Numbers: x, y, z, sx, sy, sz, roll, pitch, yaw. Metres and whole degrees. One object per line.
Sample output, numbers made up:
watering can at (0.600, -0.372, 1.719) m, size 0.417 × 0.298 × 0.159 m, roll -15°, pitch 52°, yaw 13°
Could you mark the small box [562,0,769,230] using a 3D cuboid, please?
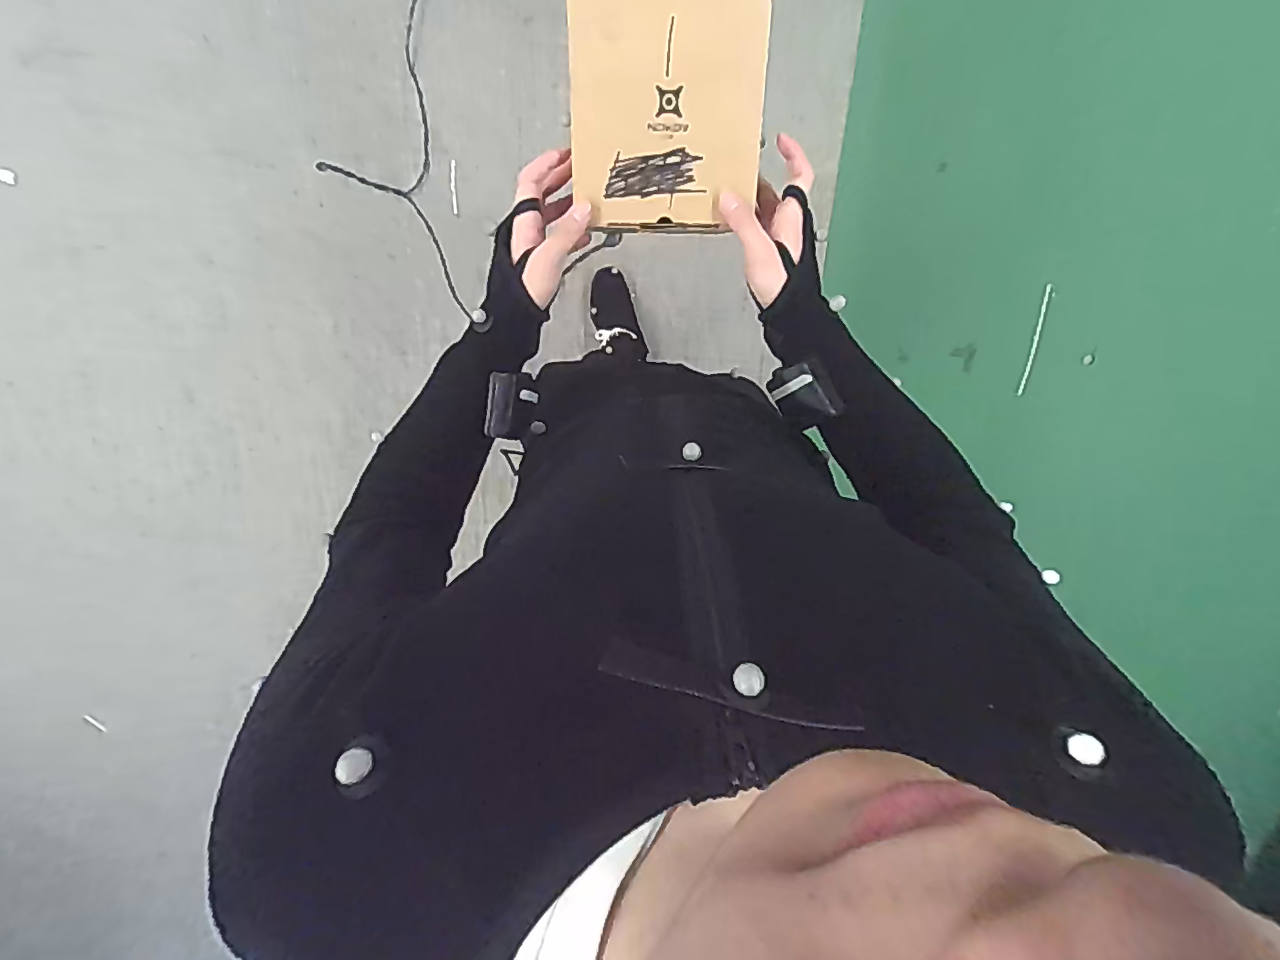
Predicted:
small box at (0.016, -0.343, 0.525) m, size 0.168 × 0.176 × 0.179 m, roll 0°, pitch 112°, yaw -2°
